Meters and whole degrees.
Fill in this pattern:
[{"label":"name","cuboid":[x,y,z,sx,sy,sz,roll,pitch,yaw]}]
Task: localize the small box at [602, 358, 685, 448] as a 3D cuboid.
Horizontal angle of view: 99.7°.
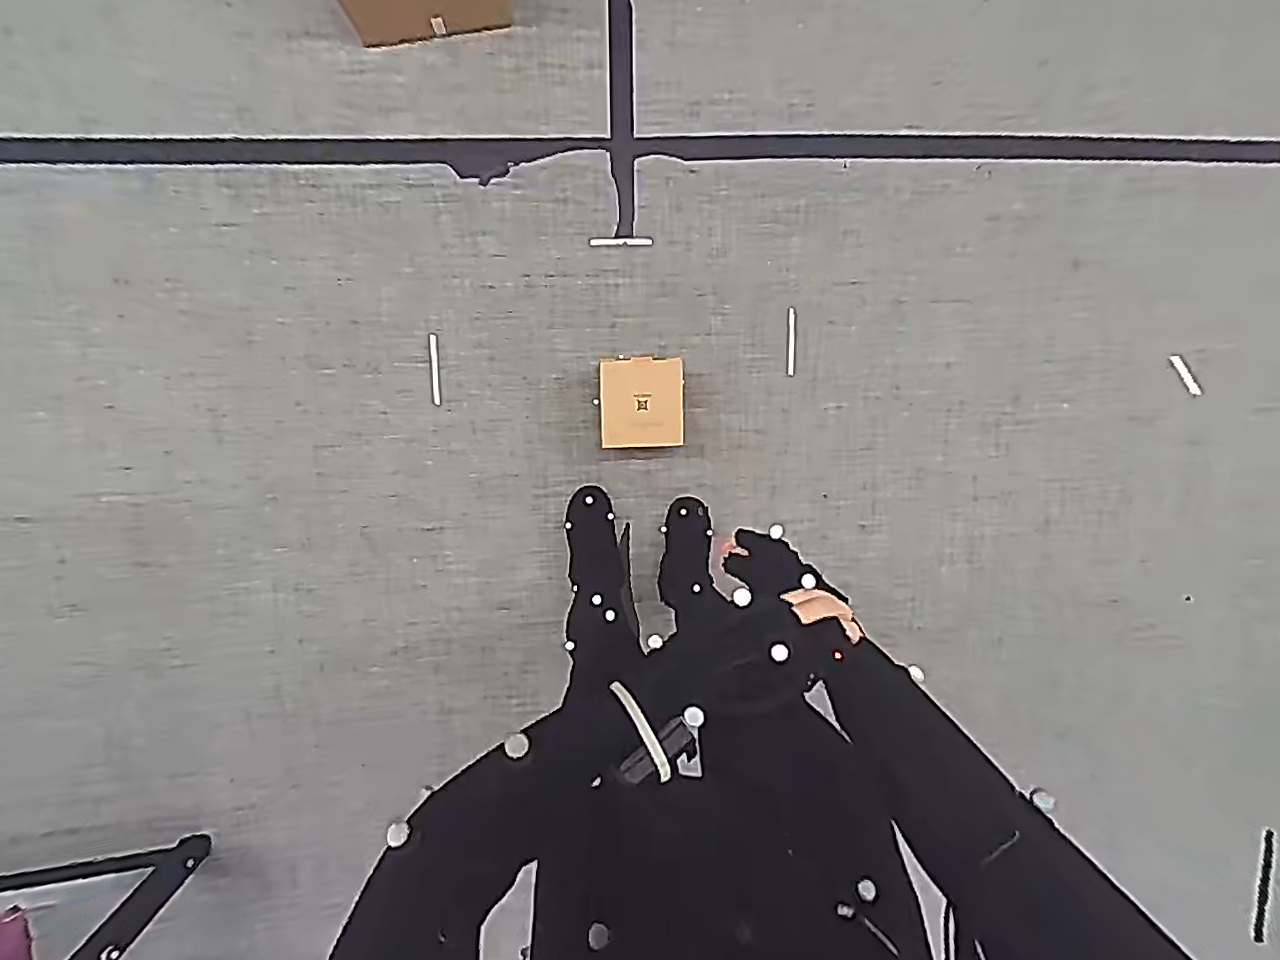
[{"label":"small box","cuboid":[0.003,-0.162,1.151,0.168,0.176,0.179,-2,98,-4]}]
